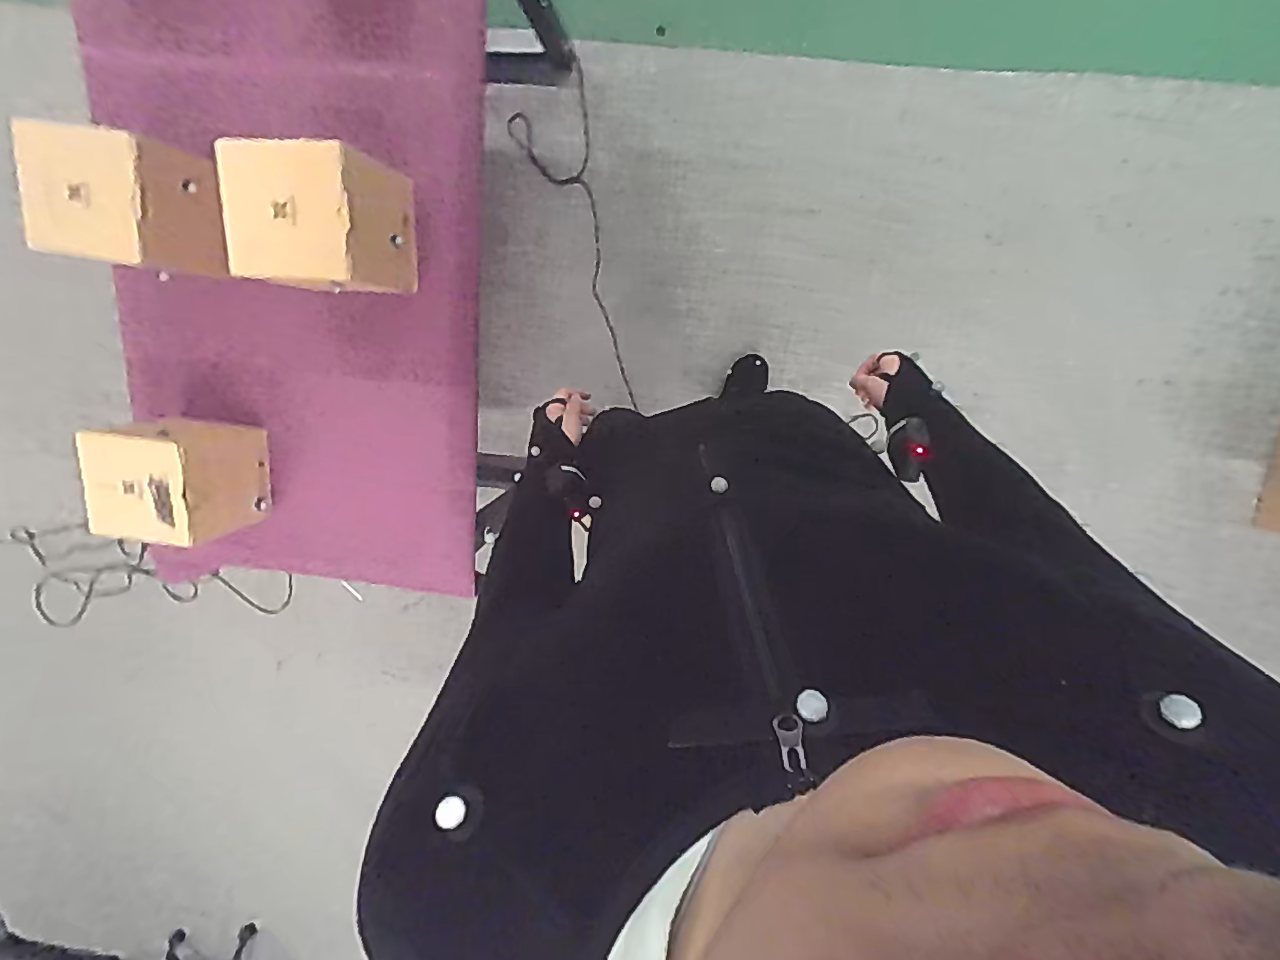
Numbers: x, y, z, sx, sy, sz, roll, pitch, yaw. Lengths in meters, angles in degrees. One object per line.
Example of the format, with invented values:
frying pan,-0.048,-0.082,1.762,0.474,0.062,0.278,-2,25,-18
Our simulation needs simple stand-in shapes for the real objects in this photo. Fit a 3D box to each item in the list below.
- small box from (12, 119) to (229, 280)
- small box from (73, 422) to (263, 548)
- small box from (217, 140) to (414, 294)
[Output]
small box,-0.746,-0.402,0.803,0.179,0.176,0.168,10,103,4
small box,-0.761,-0.001,0.896,0.179,0.176,0.168,7,103,5
small box,-0.452,-0.365,0.777,0.179,0.176,0.168,4,103,6
